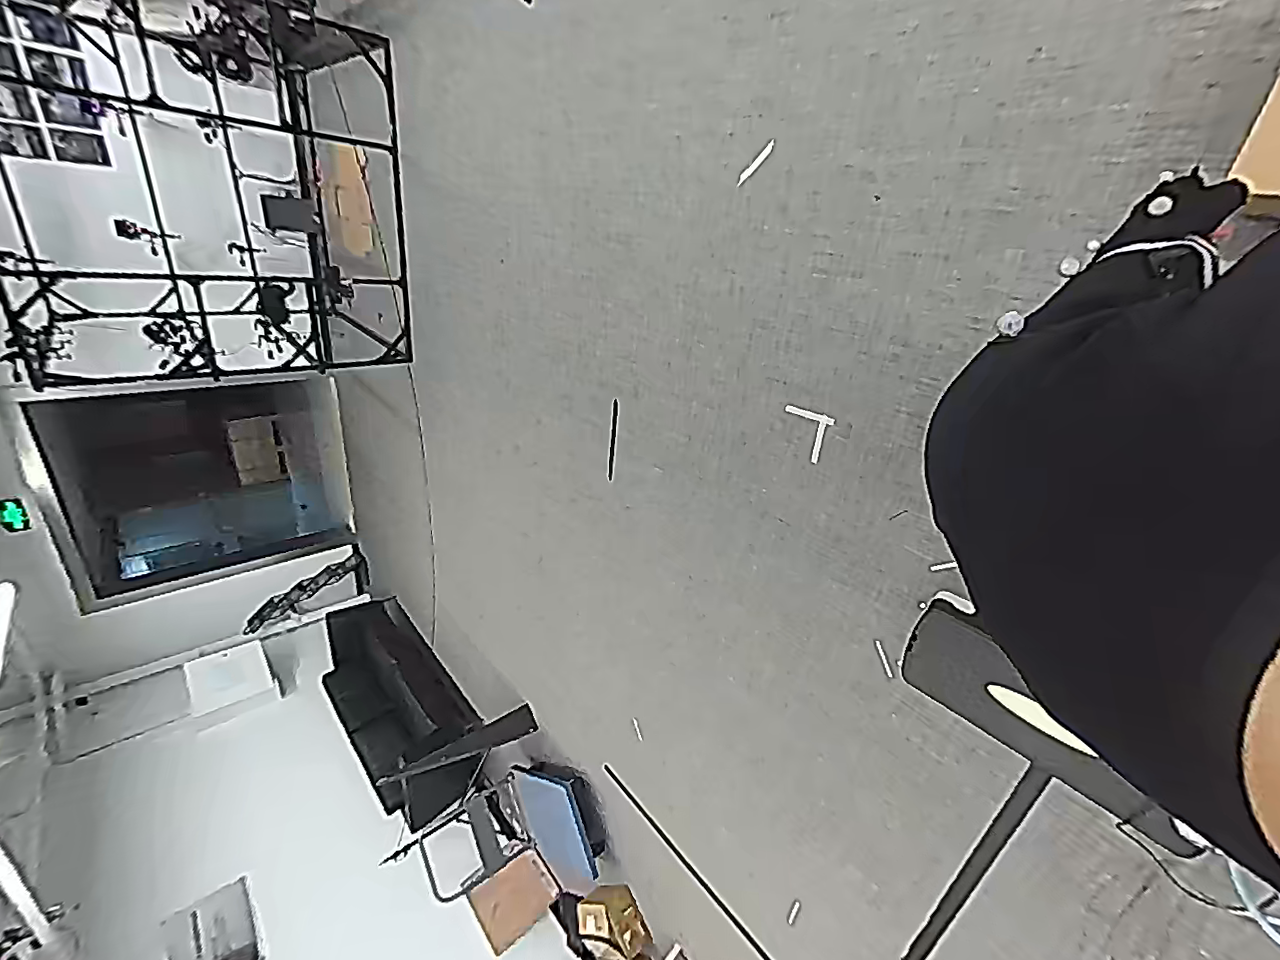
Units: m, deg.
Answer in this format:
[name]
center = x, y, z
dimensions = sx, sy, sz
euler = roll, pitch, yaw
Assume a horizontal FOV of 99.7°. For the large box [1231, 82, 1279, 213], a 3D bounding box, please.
[large box]
center = 1.108, -0.519, 0.689
dimensions = 0.408, 0.320, 0.320
euler = 30, 124, 39
